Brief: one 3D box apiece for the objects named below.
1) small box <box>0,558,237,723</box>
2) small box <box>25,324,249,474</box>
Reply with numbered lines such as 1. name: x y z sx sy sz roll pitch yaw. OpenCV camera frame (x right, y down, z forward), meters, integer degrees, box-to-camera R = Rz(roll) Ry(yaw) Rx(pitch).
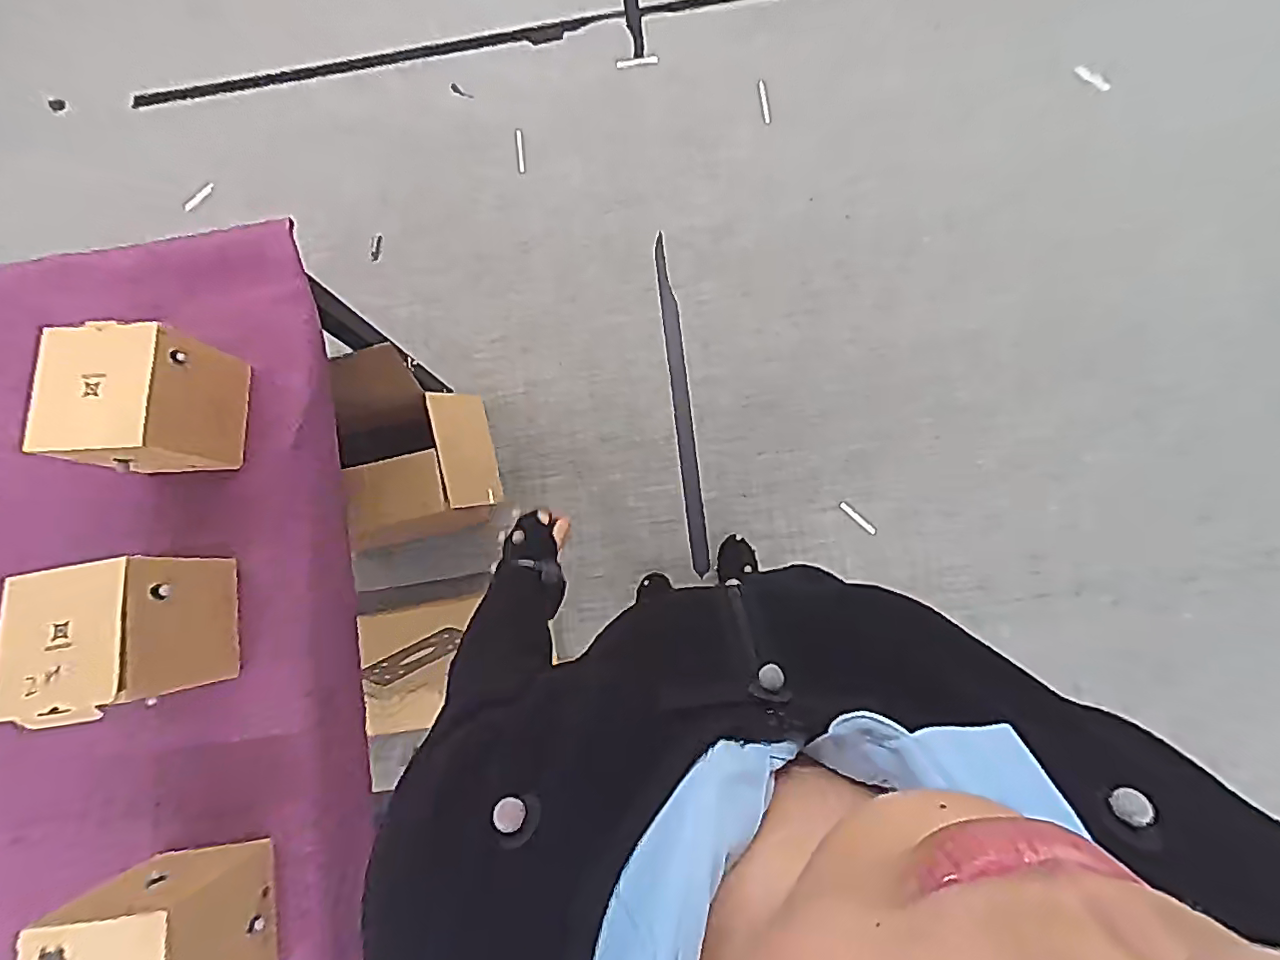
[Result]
1. small box: -0.685 0.206 0.729 0.168 0.176 0.179 -10 80 4
2. small box: -0.711 -0.106 0.787 0.168 0.176 0.179 -3 80 3
